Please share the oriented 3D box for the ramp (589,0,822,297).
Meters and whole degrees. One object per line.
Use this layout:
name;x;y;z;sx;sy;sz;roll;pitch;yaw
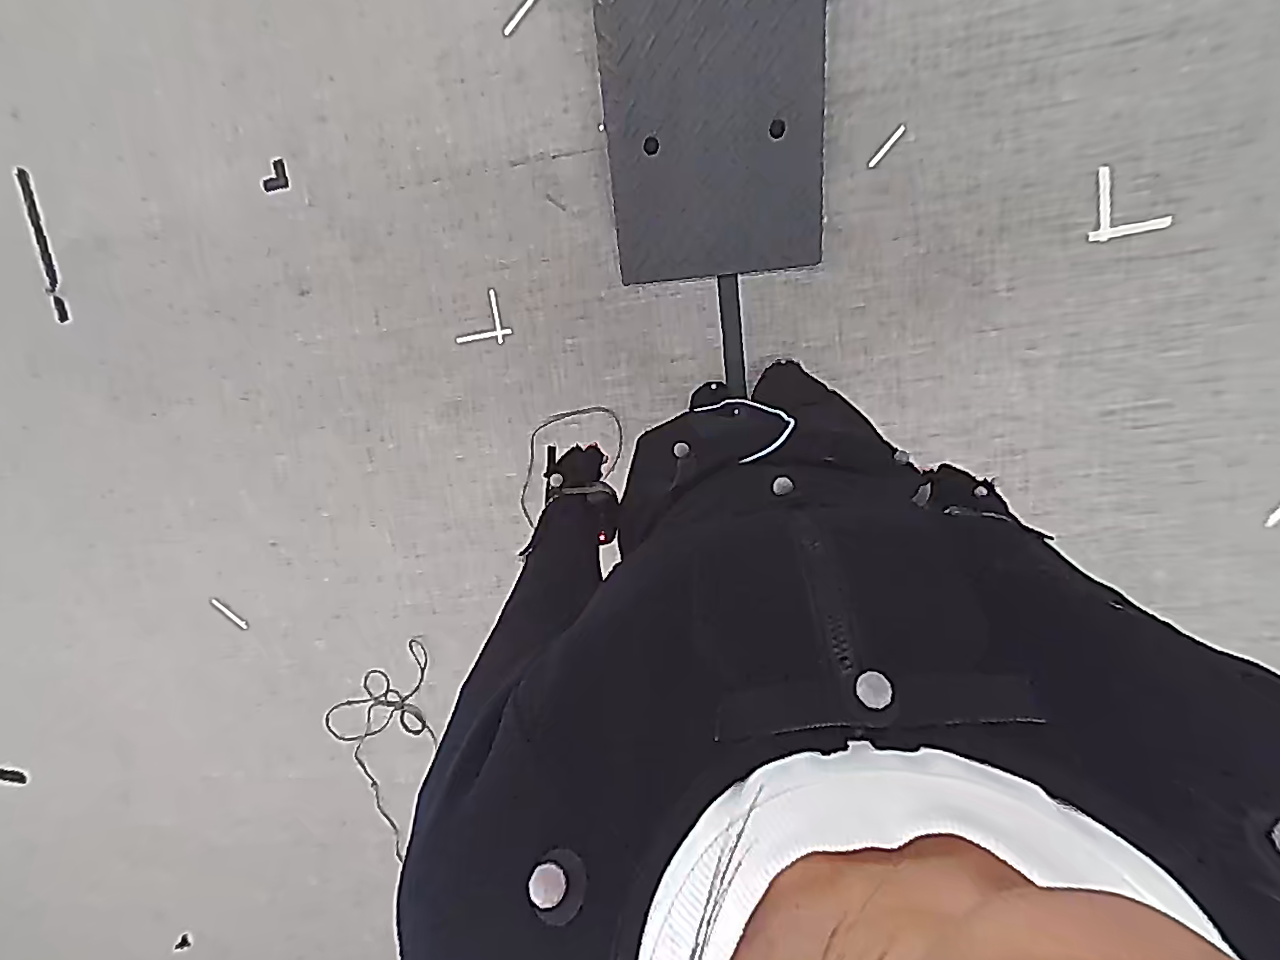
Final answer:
ramp;0.146;-0.955;1.194;0.509;0.206;0.991;-7;100;6
